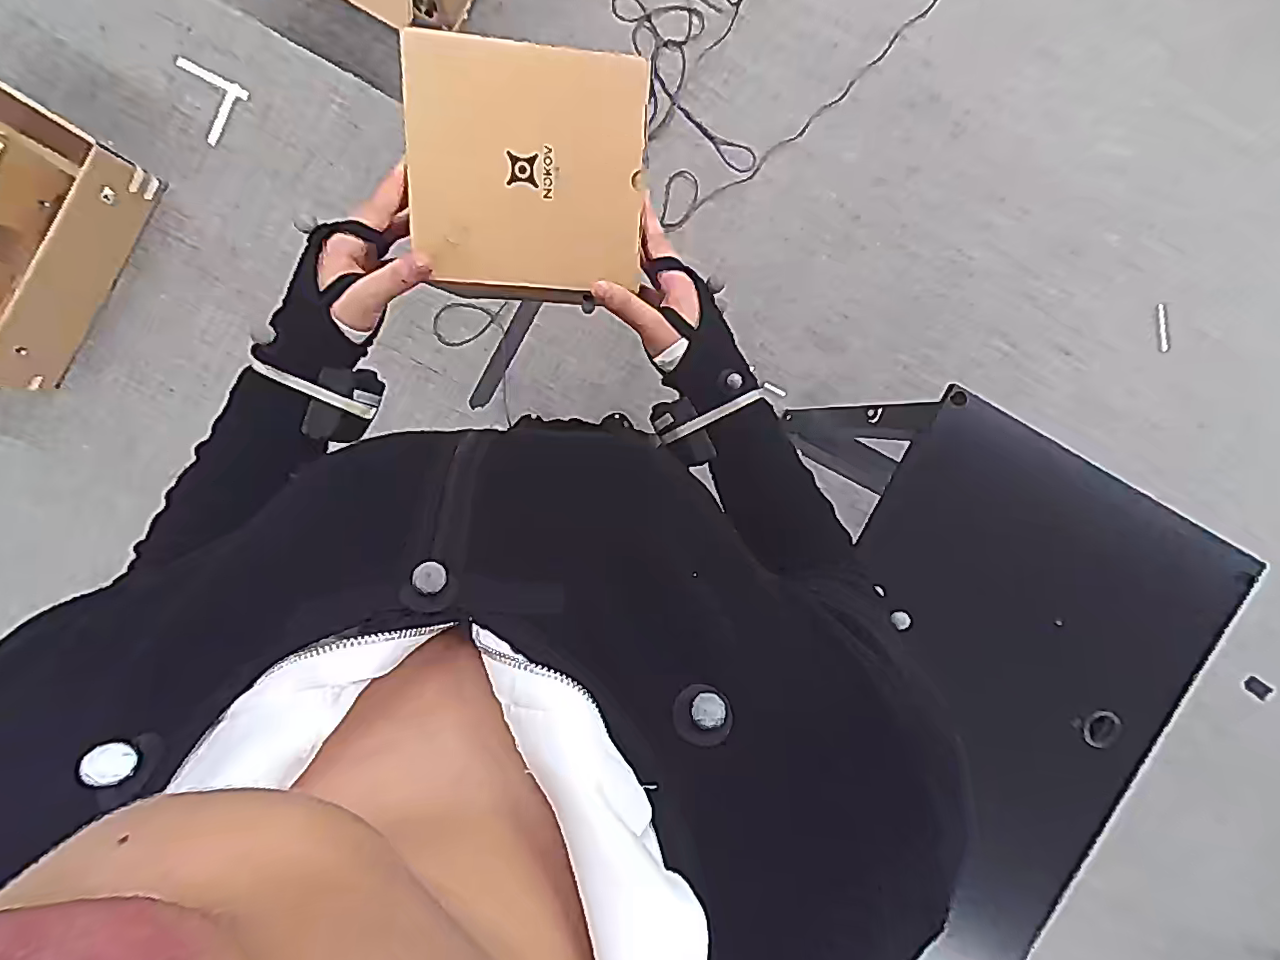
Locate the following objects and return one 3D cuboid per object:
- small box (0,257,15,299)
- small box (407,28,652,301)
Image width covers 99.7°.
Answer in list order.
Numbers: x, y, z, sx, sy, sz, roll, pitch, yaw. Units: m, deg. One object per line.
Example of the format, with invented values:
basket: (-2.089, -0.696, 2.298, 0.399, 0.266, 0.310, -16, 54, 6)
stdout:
small box: (-1.580, -0.465, 1.199, 0.168, 0.176, 0.179, 32, 91, -9)
small box: (-0.092, -0.255, 0.484, 0.179, 0.176, 0.168, 1, 105, -8)
